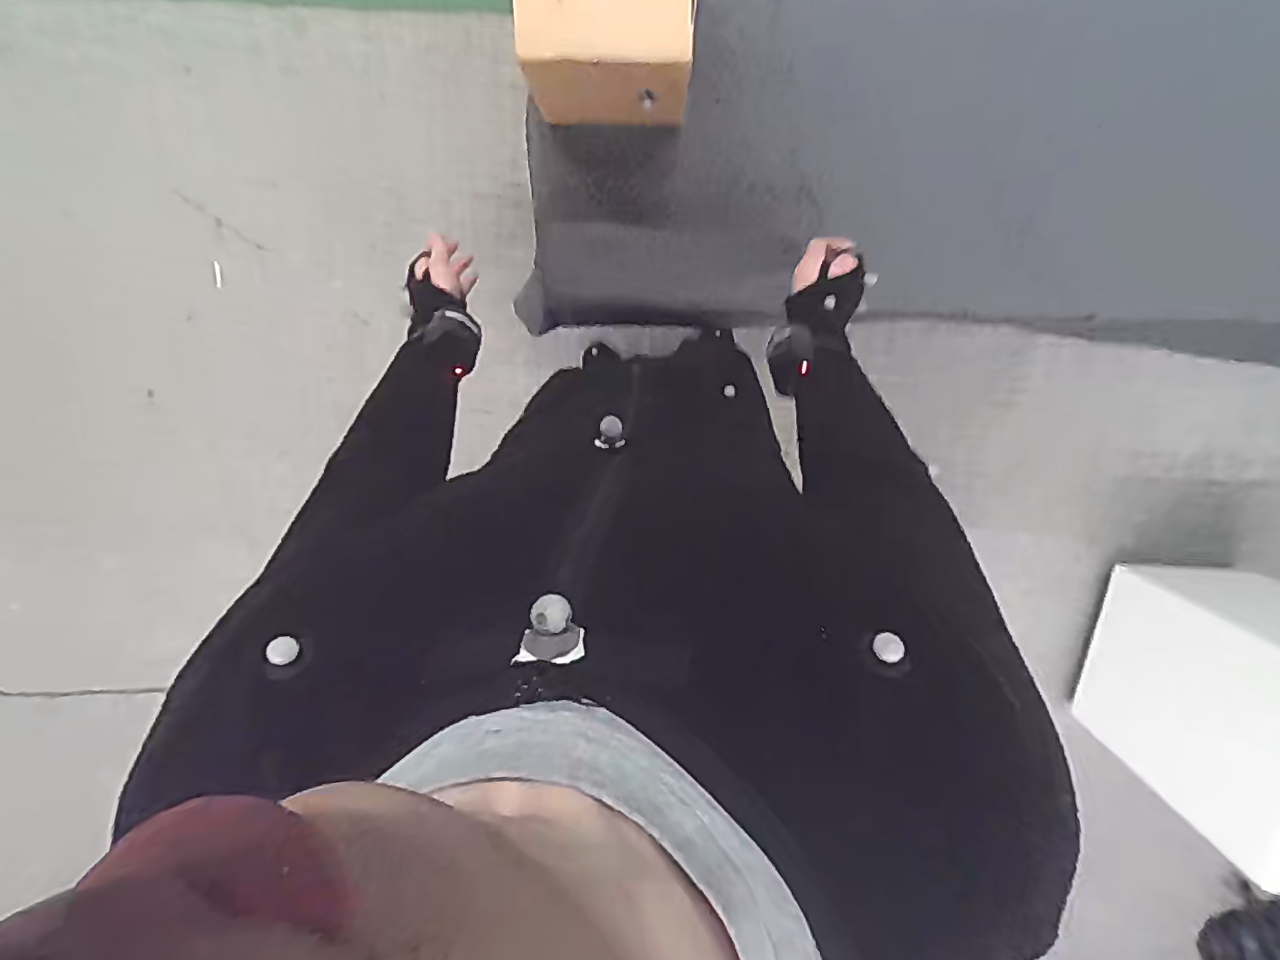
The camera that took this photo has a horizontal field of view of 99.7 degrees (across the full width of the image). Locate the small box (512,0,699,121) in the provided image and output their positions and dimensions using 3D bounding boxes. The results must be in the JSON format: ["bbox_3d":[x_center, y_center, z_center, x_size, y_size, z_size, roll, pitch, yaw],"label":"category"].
[{"bbox_3d":[-0.033,-0.503,0.569,0.179,0.176,0.168,1,104,0],"label":"small box"}]
